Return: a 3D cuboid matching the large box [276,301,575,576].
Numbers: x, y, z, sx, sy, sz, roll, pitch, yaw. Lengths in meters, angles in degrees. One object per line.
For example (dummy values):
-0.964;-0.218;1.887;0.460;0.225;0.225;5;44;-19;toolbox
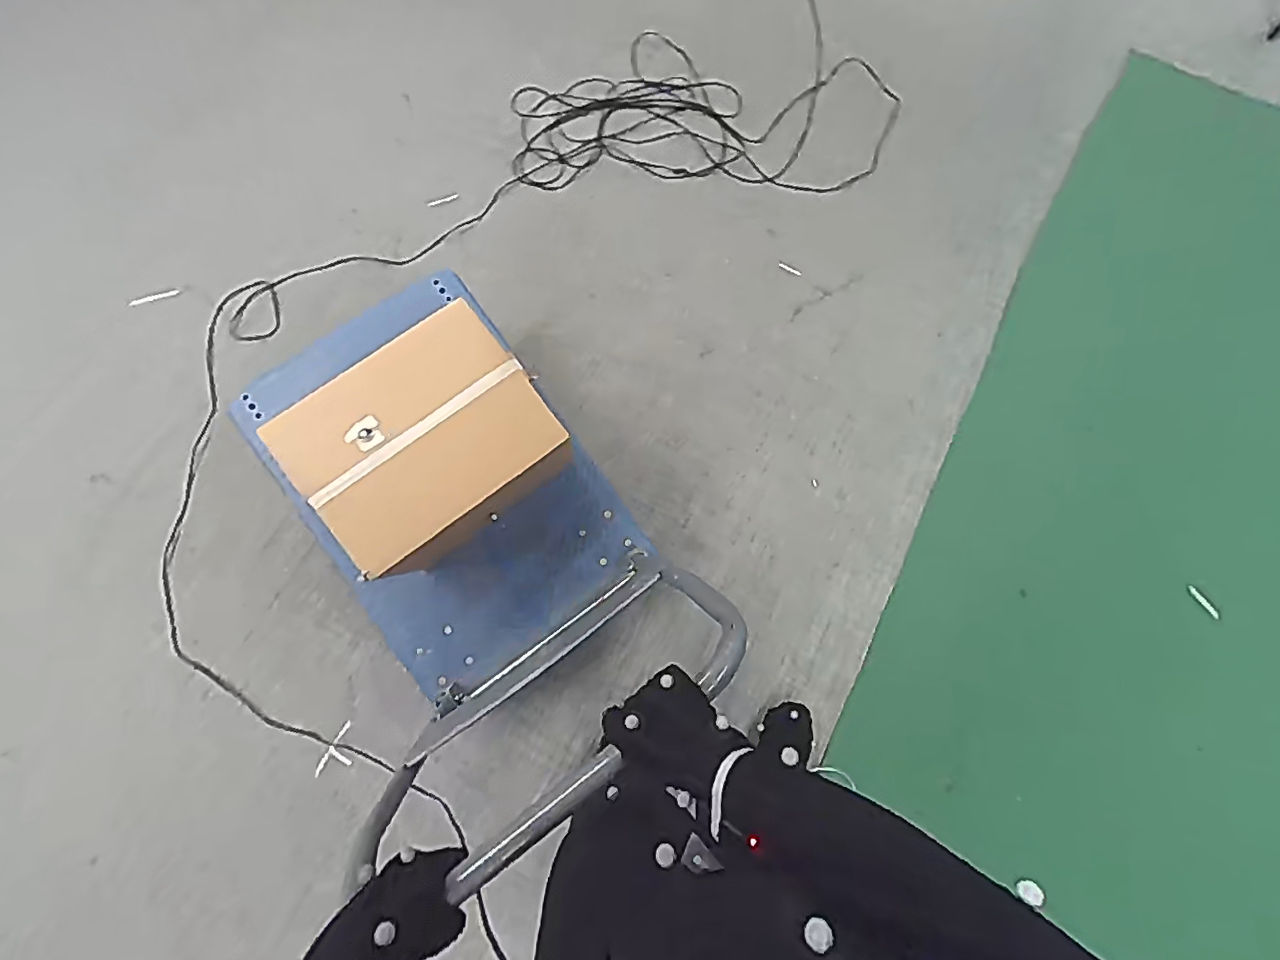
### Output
-0.379;-0.068;1.074;0.408;0.320;0.320;-38;88;-7;large box
